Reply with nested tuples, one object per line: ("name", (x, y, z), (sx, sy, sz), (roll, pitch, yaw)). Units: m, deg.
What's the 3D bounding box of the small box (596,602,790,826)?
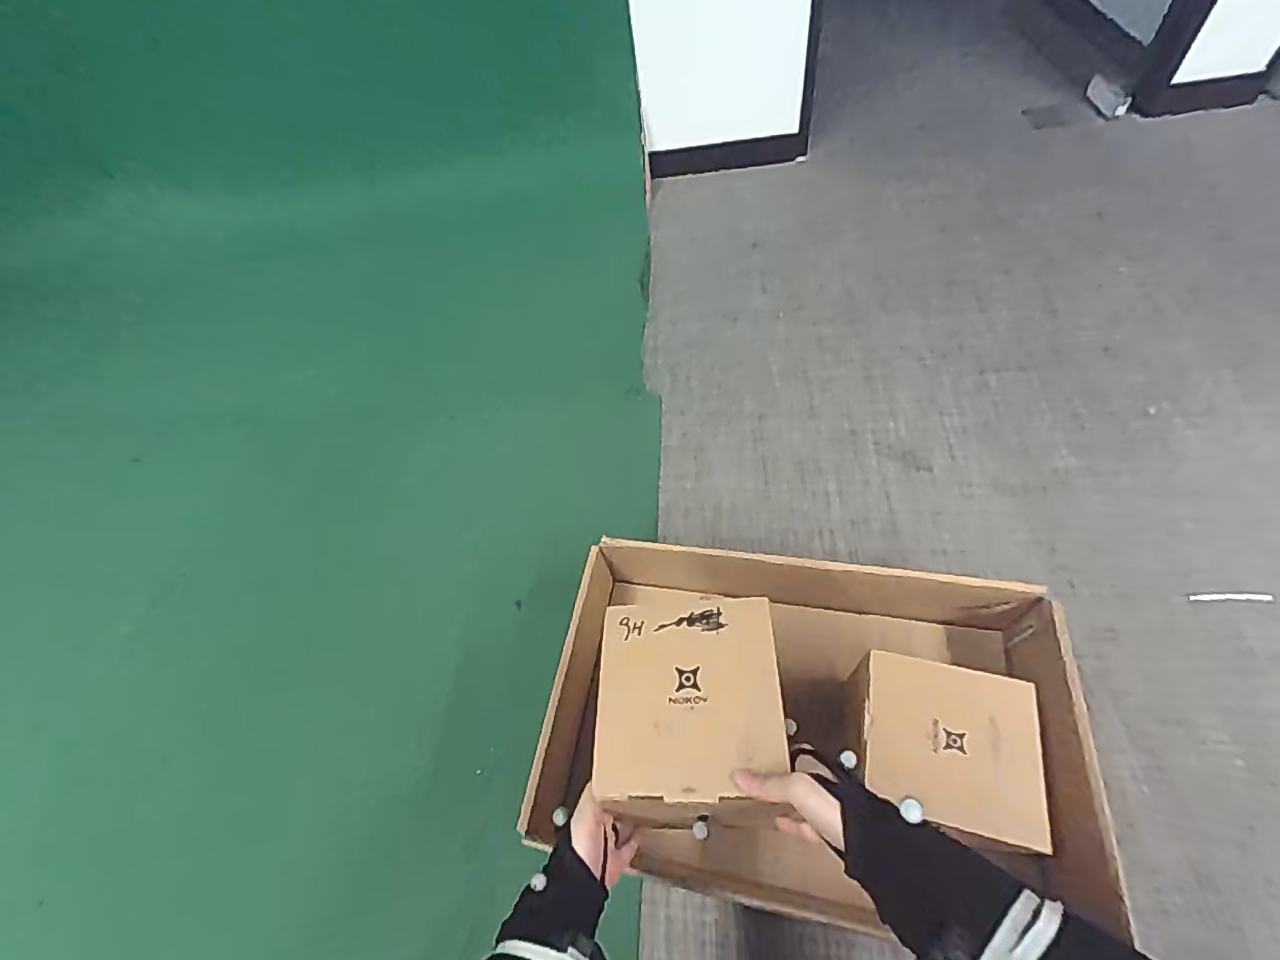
("small box", (0.060, 0.244, 0.553), (0.168, 0.176, 0.179), (-5, 51, 9))
